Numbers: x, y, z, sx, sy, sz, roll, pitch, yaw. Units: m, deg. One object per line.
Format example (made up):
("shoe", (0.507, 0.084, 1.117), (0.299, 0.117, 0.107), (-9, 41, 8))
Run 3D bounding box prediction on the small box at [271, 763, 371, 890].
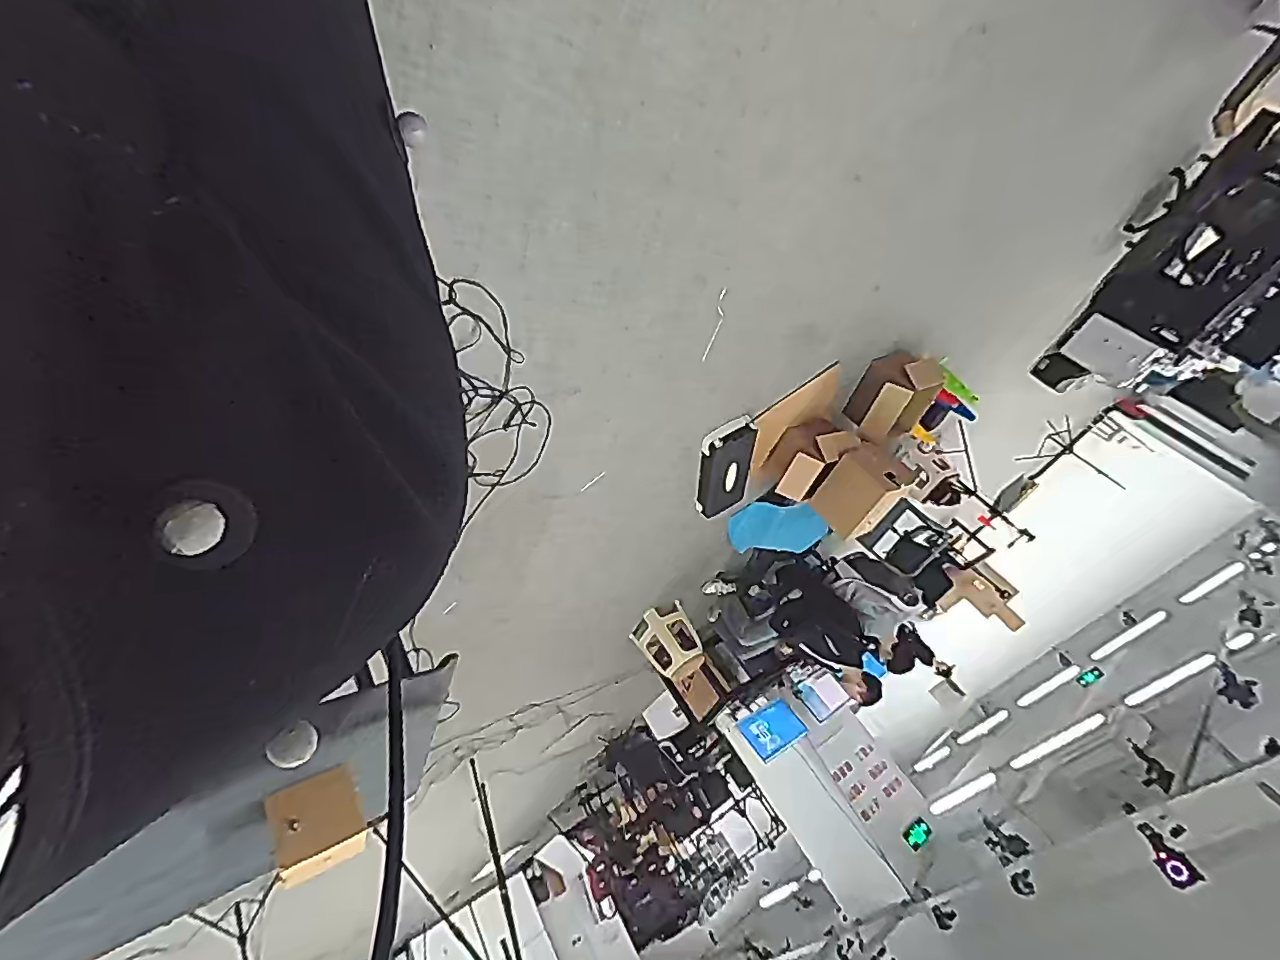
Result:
("small box", (-0.763, 0.819, 1.289), (0.179, 0.176, 0.168), (-12, 142, -38))
